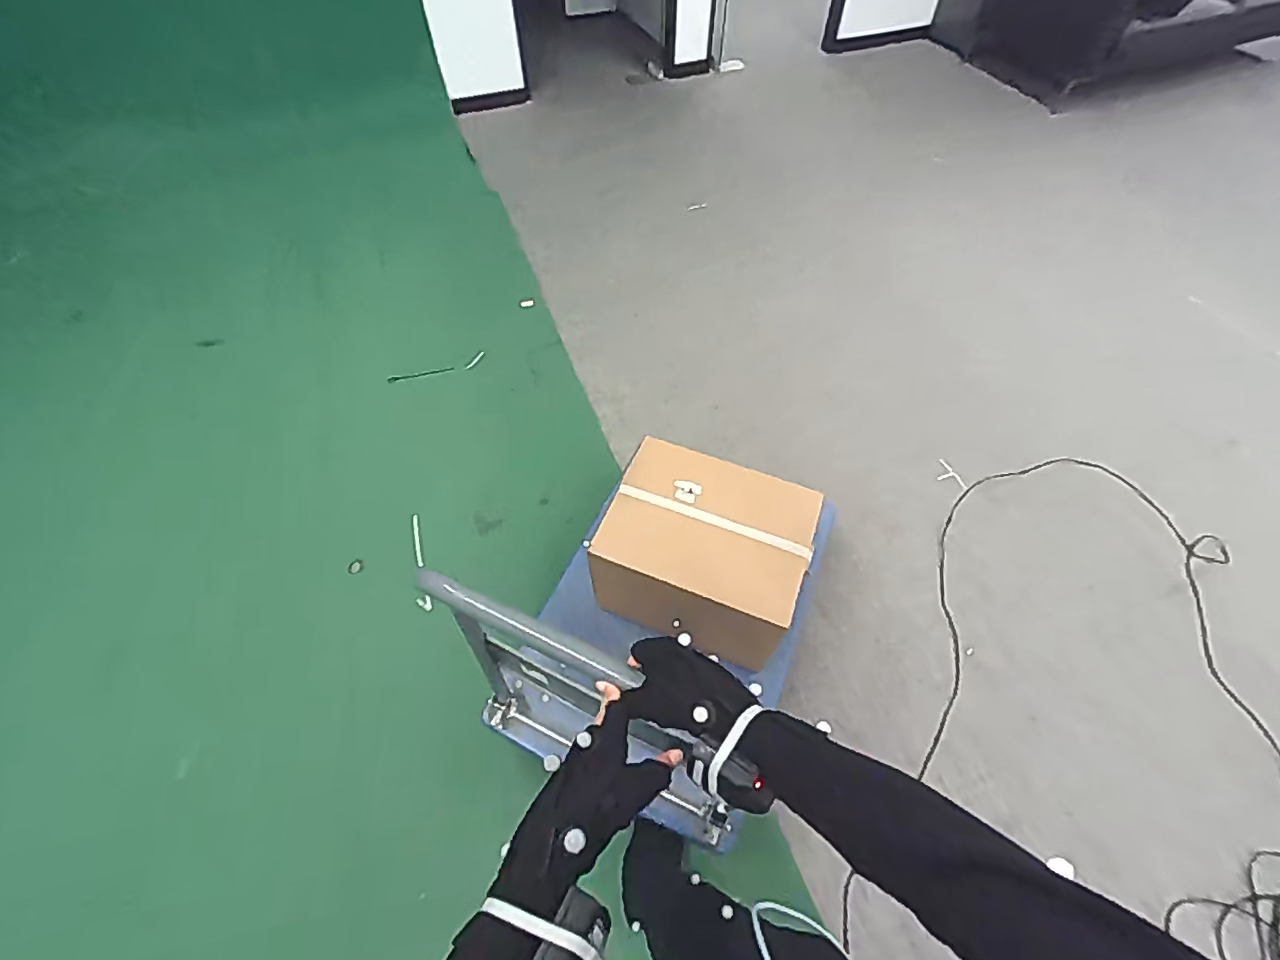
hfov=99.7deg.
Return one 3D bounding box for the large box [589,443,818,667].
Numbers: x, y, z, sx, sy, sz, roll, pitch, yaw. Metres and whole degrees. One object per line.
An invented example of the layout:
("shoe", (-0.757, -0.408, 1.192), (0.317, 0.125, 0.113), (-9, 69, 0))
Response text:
("large box", (0.140, 0.173, 1.219), (0.408, 0.320, 0.320), (19, 57, 13))
